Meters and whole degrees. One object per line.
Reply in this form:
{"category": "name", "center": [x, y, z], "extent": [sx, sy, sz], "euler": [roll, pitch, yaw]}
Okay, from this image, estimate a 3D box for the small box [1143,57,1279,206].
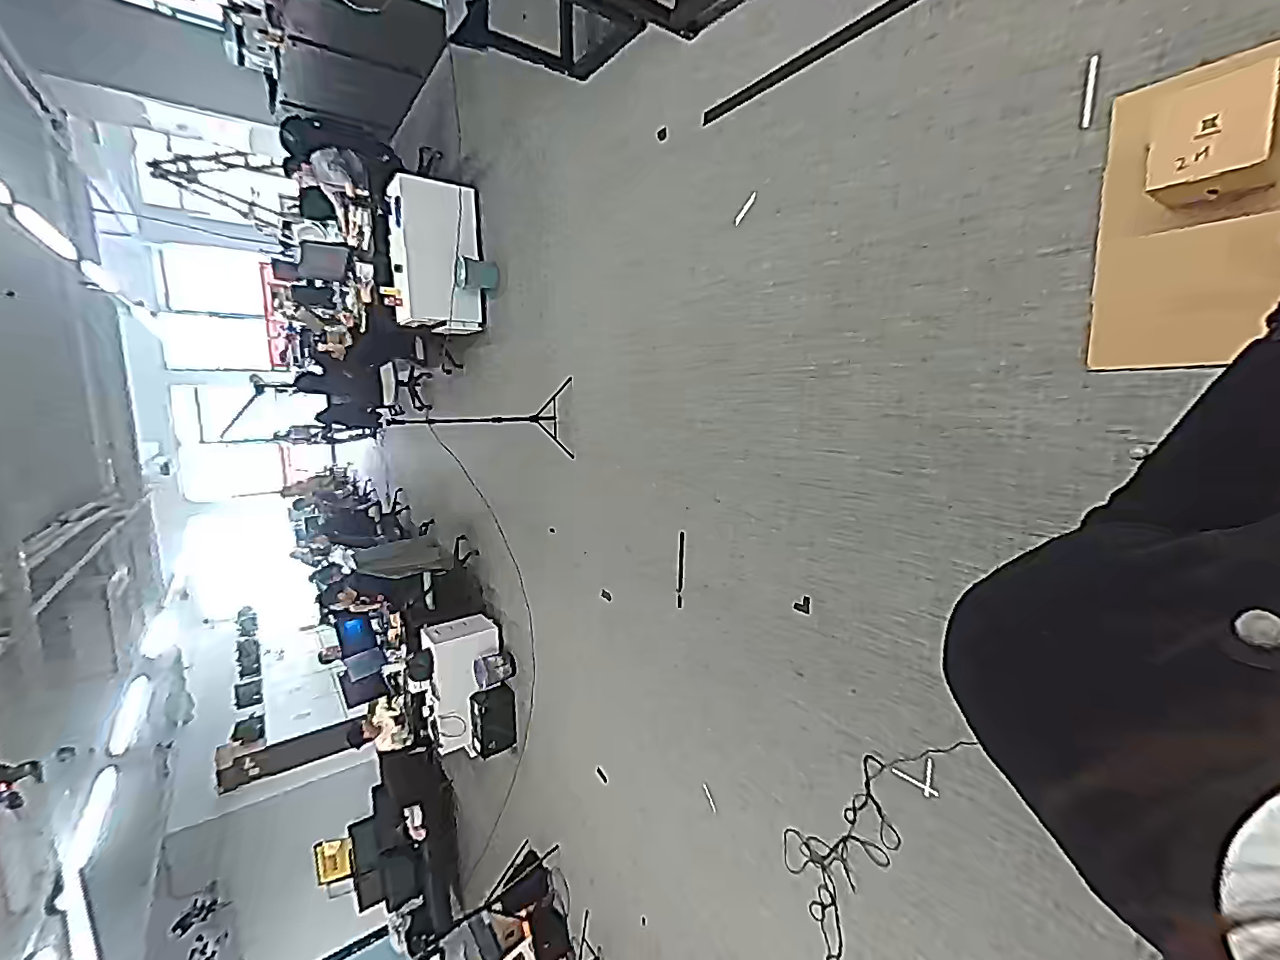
{"category": "small box", "center": [1.118, -0.660, 1.050], "extent": [0.168, 0.176, 0.179], "euler": [11, 104, 54]}
